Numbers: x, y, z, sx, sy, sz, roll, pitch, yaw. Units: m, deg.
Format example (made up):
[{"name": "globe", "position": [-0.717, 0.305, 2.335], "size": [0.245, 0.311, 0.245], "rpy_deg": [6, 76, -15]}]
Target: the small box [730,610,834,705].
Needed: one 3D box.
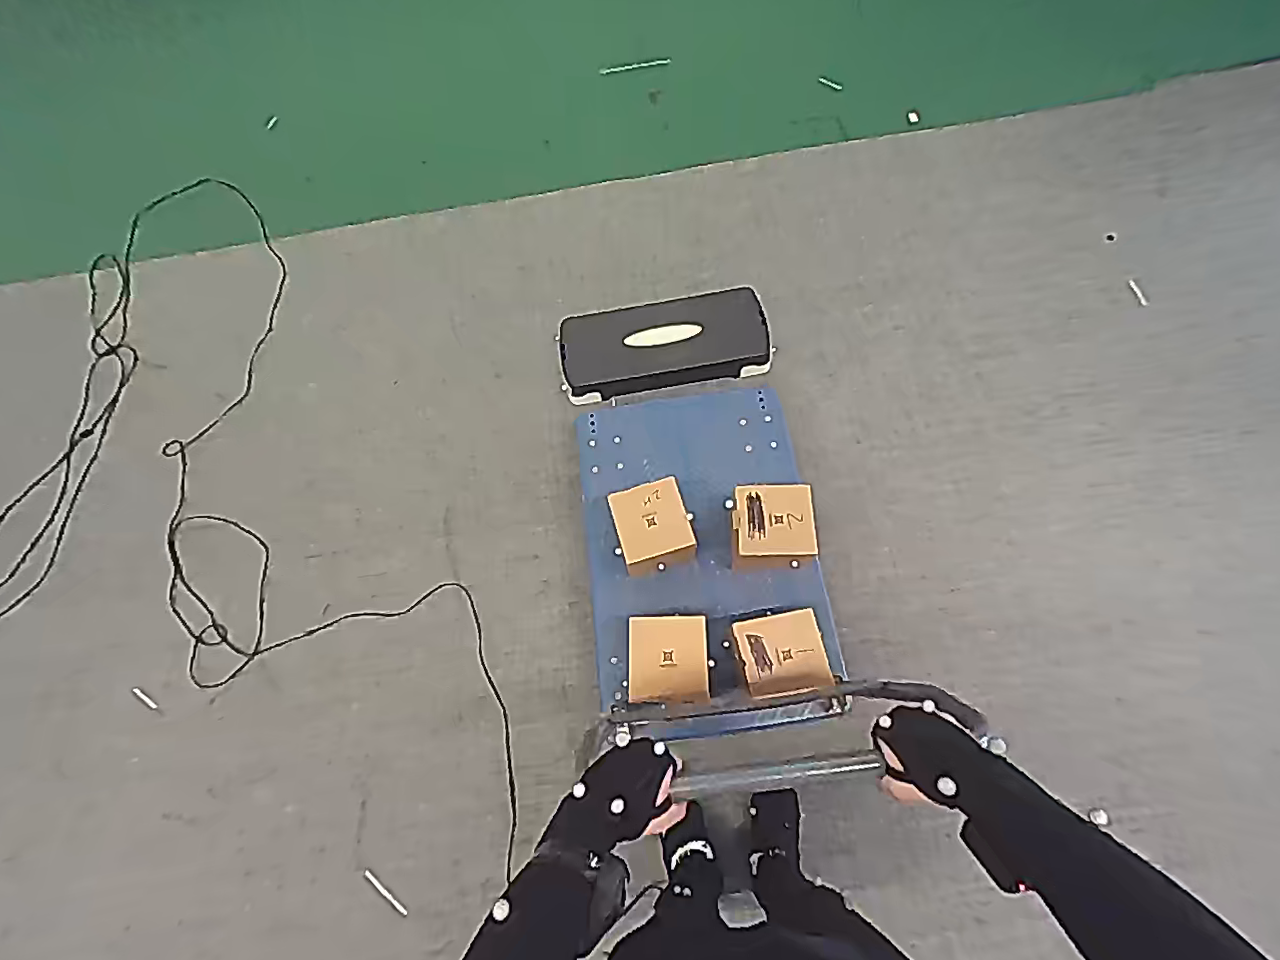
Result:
[{"name": "small box", "position": [0.299, 0.394, 1.187], "size": [0.179, 0.176, 0.168], "rpy_deg": [-11, 69, -1]}]

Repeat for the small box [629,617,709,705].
[{"name": "small box", "position": [0.062, 0.404, 1.199], "size": [0.168, 0.176, 0.179], "rpy_deg": [-1, 69, 2]}]

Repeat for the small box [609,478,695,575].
[{"name": "small box", "position": [0.031, 0.122, 1.311], "size": [0.168, 0.176, 0.179], "rpy_deg": [-15, 68, -3]}]
